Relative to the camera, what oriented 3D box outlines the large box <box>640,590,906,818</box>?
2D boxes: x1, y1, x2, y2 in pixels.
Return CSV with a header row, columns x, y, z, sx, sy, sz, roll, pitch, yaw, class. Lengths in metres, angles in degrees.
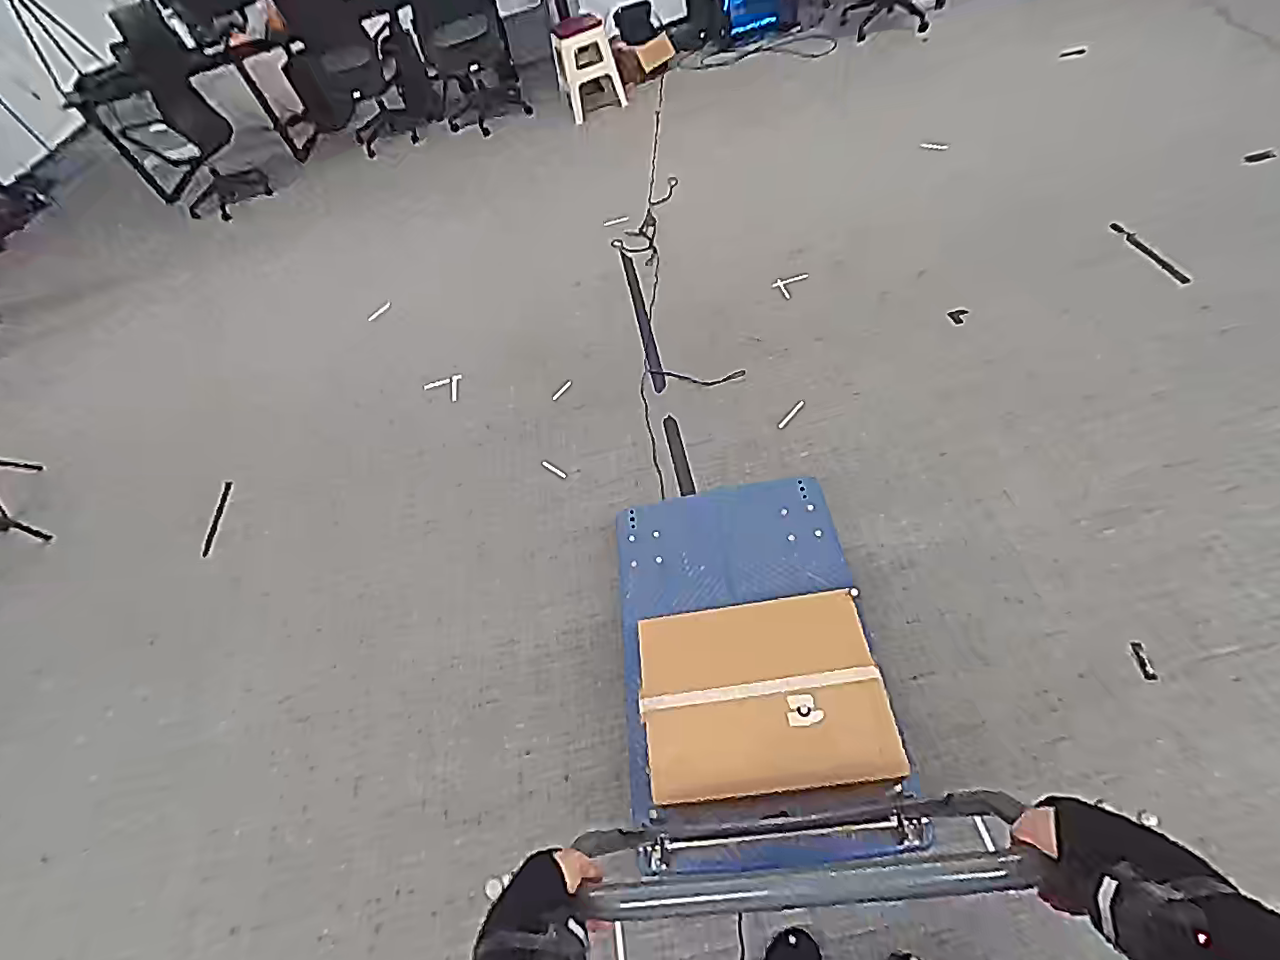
x,y,z,sx,sy,sz,roll,pitch,yaw,class
0.233,0.450,1.062,0.408,0.320,0.320,-10,54,6,large box
